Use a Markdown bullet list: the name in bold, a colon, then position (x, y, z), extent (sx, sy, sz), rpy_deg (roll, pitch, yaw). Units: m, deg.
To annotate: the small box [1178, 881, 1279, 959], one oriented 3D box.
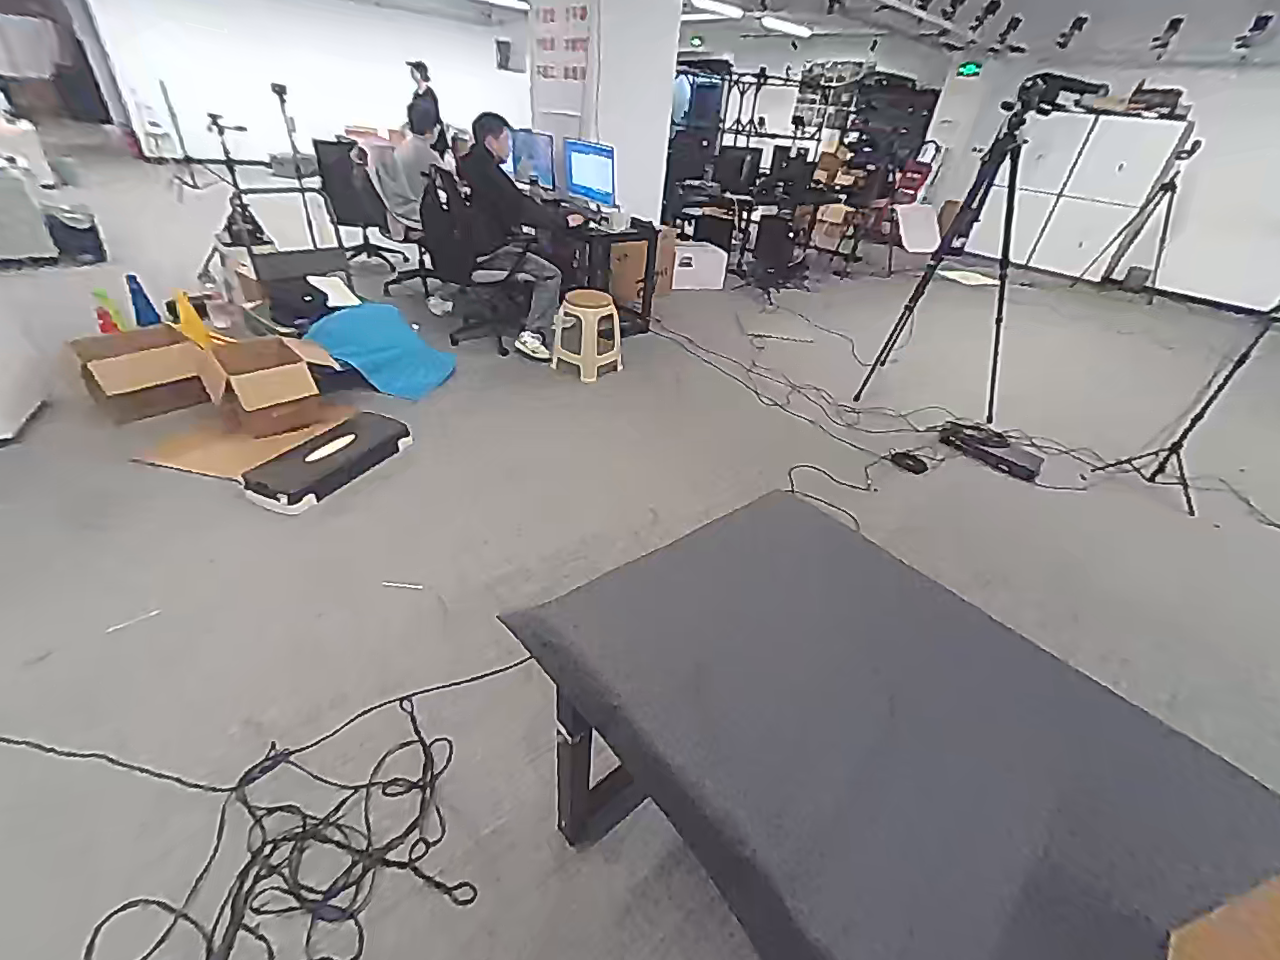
- **small box**: position (0.578, 0.484, 0.434), extent (0.179, 0.176, 0.168), rpy_deg (-25, 46, -39)
